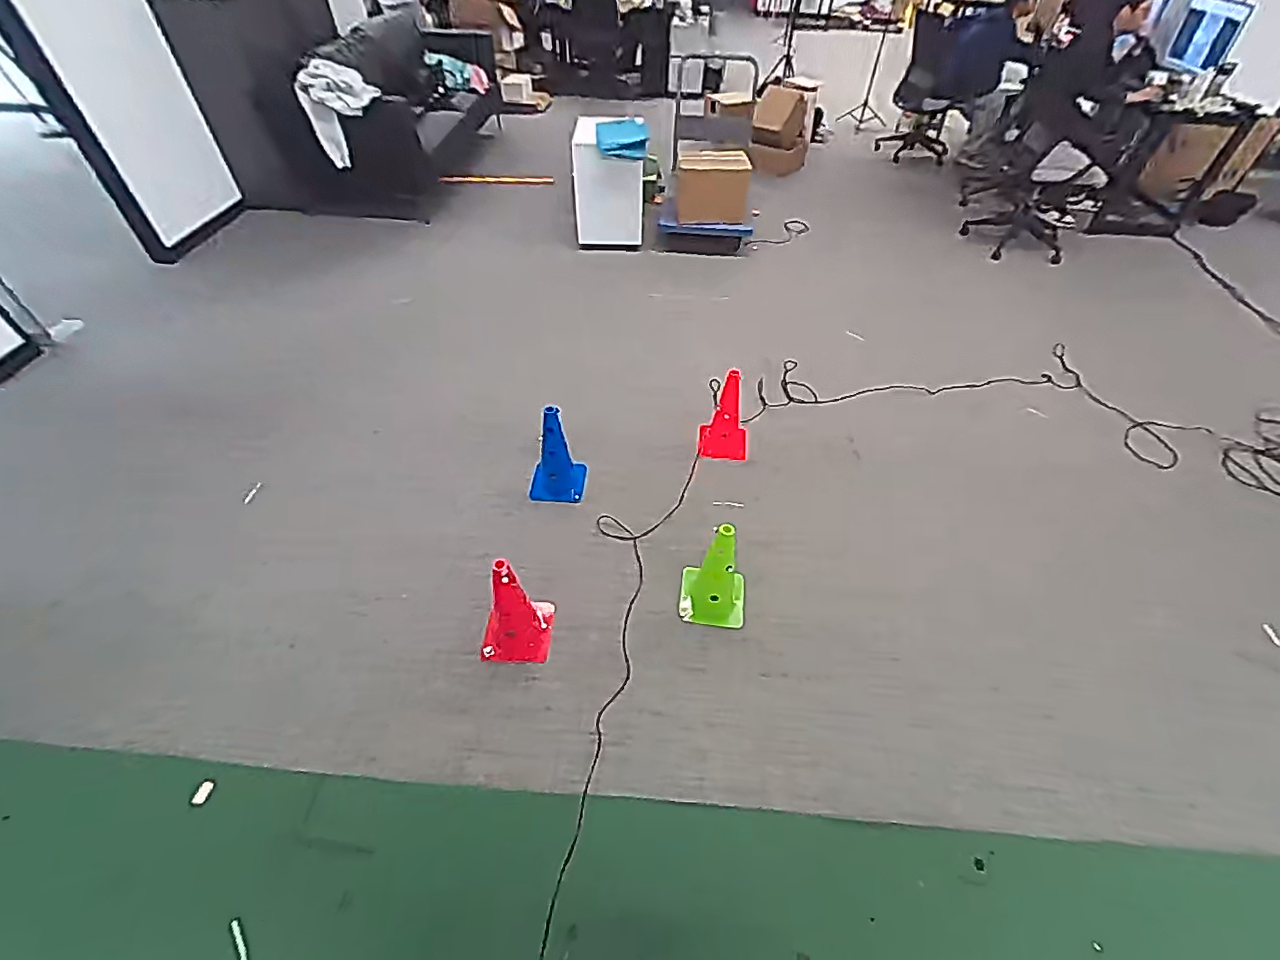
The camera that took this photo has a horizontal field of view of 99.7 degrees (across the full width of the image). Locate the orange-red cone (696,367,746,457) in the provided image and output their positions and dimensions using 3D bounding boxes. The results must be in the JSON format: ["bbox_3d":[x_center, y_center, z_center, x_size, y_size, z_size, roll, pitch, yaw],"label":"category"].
[{"bbox_3d":[0.337,-0.283,2.104,0.198,0.360,0.199,7,49,6],"label":"orange-red cone"}]

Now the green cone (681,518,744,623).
[{"bbox_3d":[0.238,0.245,1.607,0.200,0.368,0.202,6,46,4],"label":"green cone"}]
